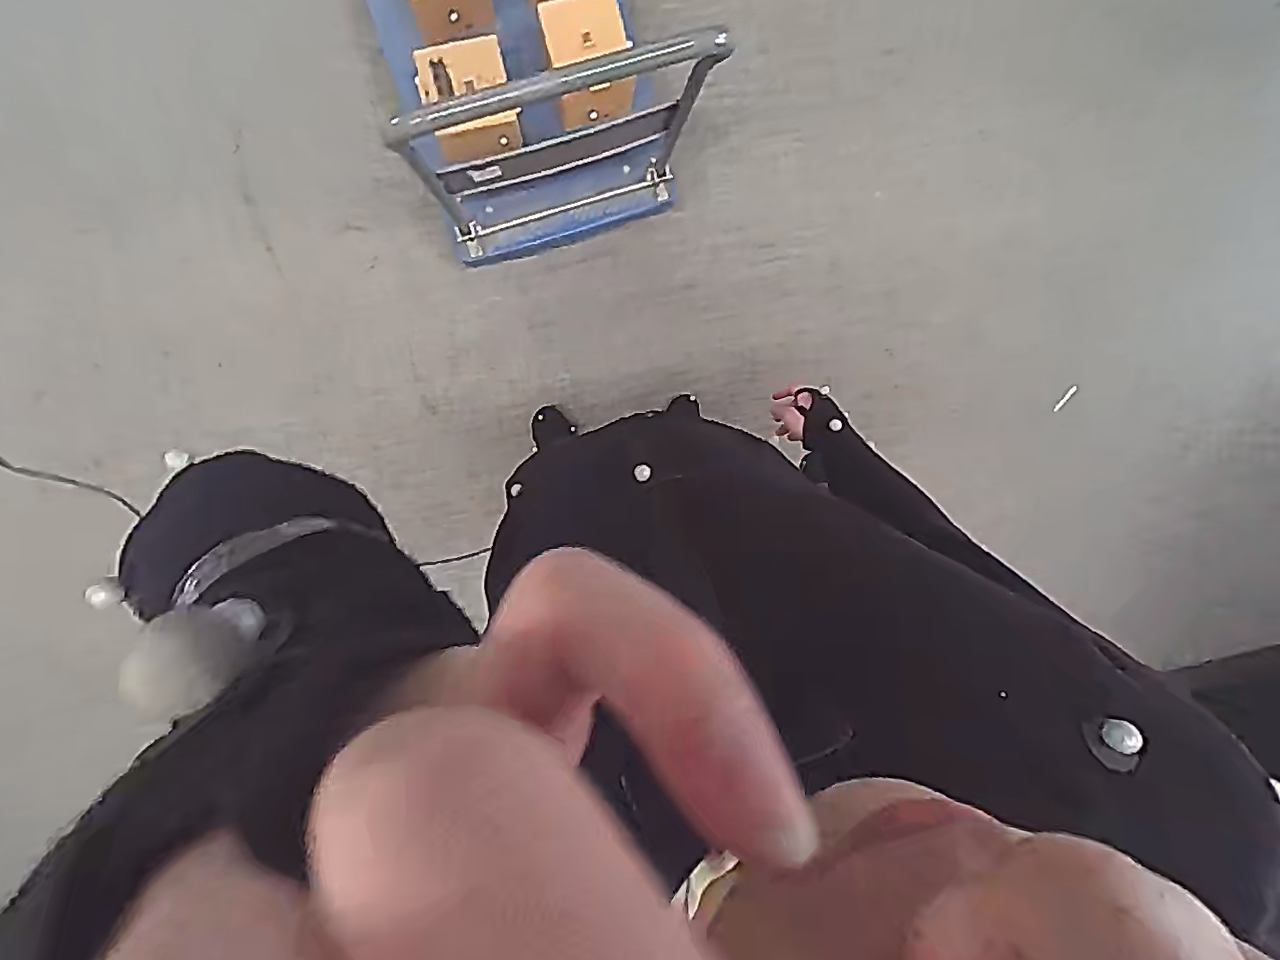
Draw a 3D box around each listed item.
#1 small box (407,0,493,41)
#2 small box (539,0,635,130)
[{"bbox_3d":[-0.431,-1.089,1.154,0.168,0.176,0.179,-21,100,-2],"label":"small box"},{"bbox_3d":[-0.117,-0.929,1.209,0.168,0.176,0.179,-17,101,-2],"label":"small box"}]
